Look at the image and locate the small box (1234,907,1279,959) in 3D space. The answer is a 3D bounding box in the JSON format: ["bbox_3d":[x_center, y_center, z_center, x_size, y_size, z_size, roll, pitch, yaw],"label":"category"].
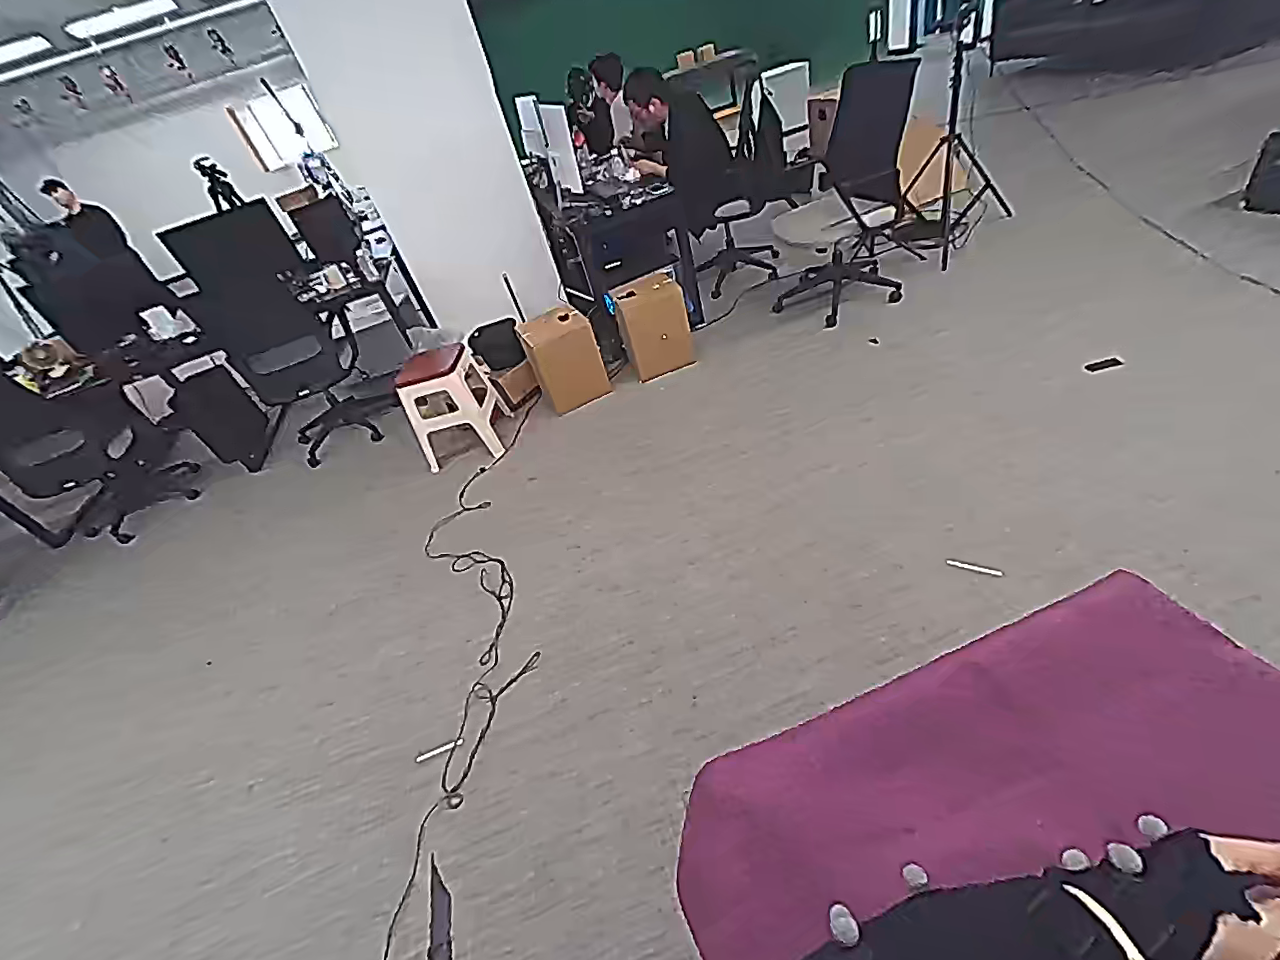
[{"bbox_3d":[0.525,0.315,0.307,0.176,0.168,0.179,-32,34,0],"label":"small box"}]
